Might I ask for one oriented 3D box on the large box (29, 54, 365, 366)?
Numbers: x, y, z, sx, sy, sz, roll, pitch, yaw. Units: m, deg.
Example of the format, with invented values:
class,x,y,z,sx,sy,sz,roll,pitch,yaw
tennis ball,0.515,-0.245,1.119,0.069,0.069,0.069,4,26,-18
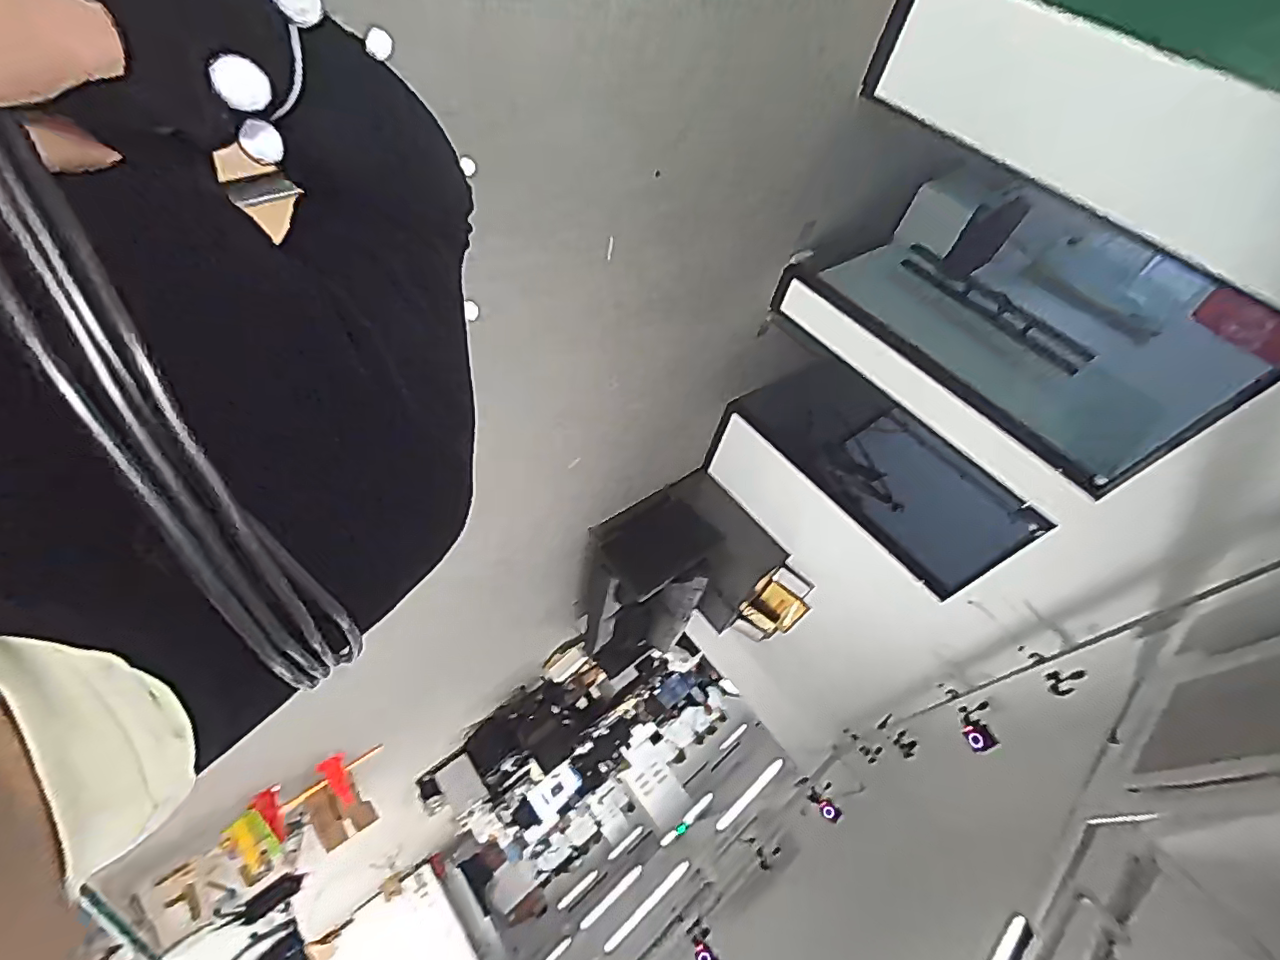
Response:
class,x,y,z,sx,sy,sz,roll,pitch,yaw
large box,-0.806,-0.510,1.044,0.320,0.320,0.408,-31,156,-26
